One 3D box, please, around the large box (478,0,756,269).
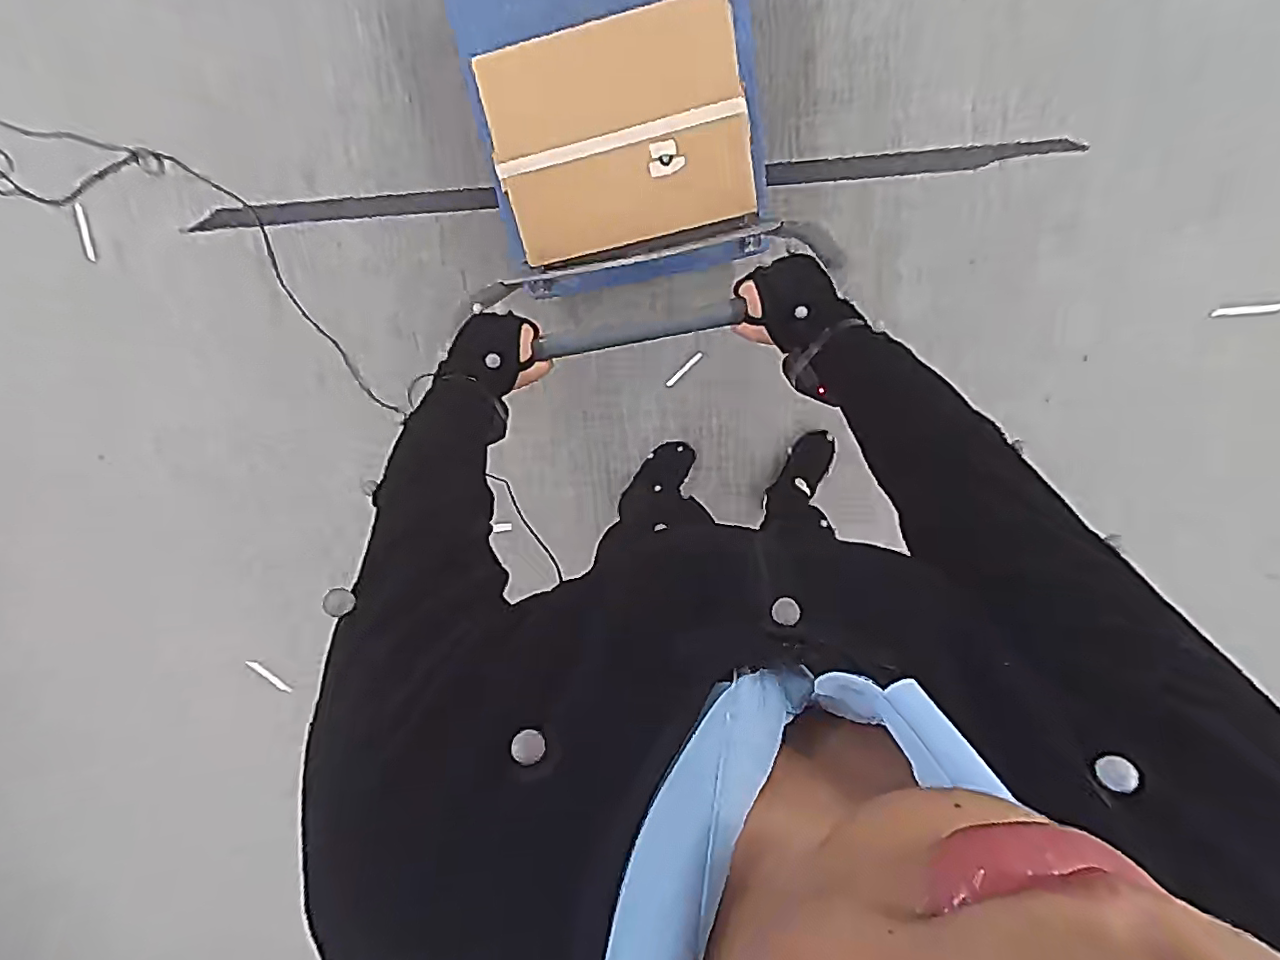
[{"bbox_3d":[-0.029,-0.613,1.025,0.408,0.320,0.320,-13,113,6],"label":"large box"}]
